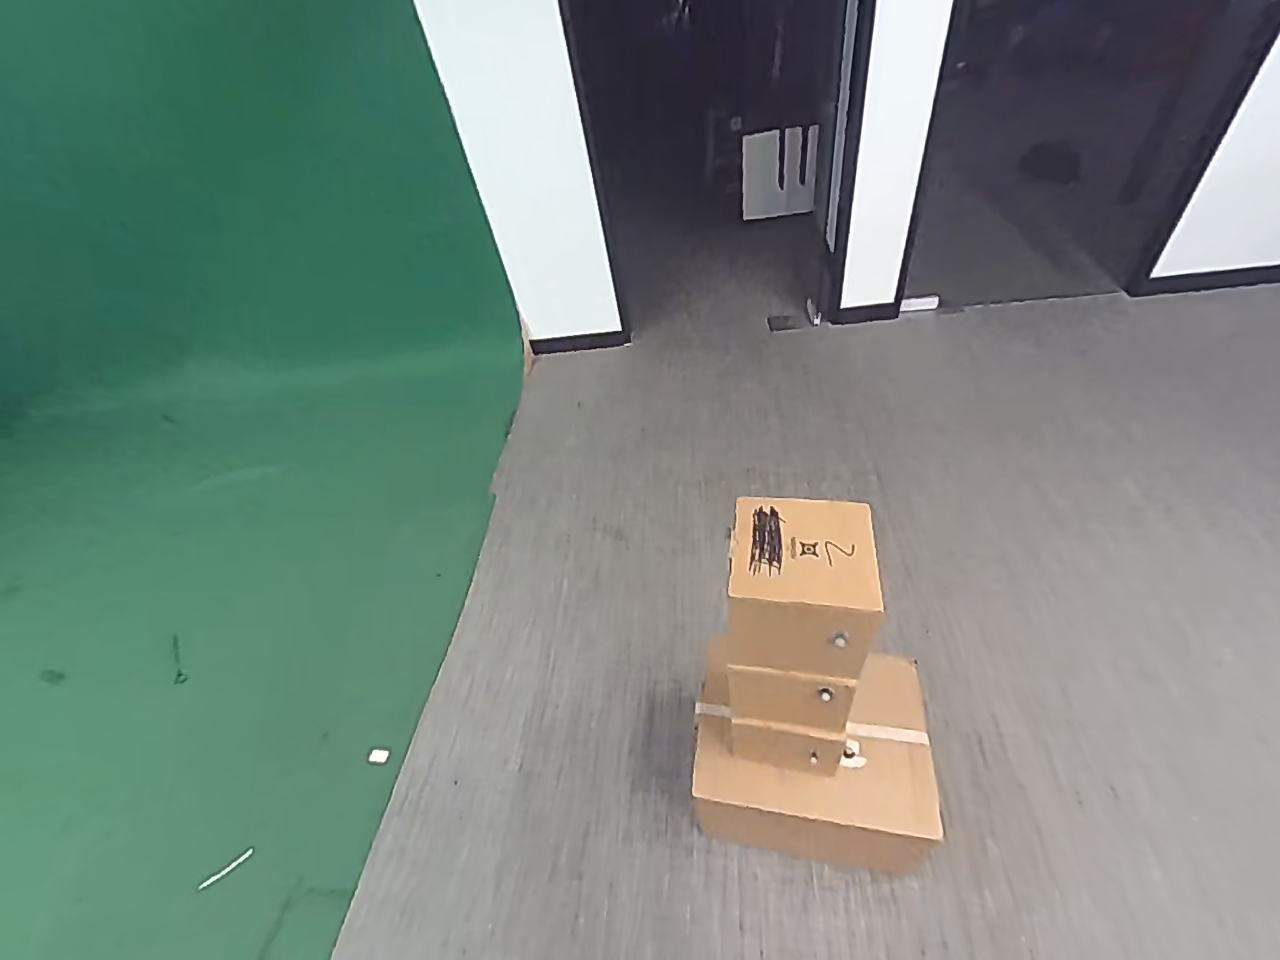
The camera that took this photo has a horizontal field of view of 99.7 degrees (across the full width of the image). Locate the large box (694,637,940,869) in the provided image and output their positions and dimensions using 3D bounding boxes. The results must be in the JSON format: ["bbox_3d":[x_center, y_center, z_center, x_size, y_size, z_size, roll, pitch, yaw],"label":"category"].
[{"bbox_3d":[0.328,0.551,1.105,0.408,0.320,0.320,3,47,12],"label":"large box"}]

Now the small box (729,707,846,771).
[{"bbox_3d":[0.252,0.385,0.940,0.179,0.176,0.168,2,45,15],"label":"small box"}]

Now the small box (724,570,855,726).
[{"bbox_3d":[0.226,0.261,0.838,0.179,0.176,0.168,3,45,13],"label":"small box"}]
